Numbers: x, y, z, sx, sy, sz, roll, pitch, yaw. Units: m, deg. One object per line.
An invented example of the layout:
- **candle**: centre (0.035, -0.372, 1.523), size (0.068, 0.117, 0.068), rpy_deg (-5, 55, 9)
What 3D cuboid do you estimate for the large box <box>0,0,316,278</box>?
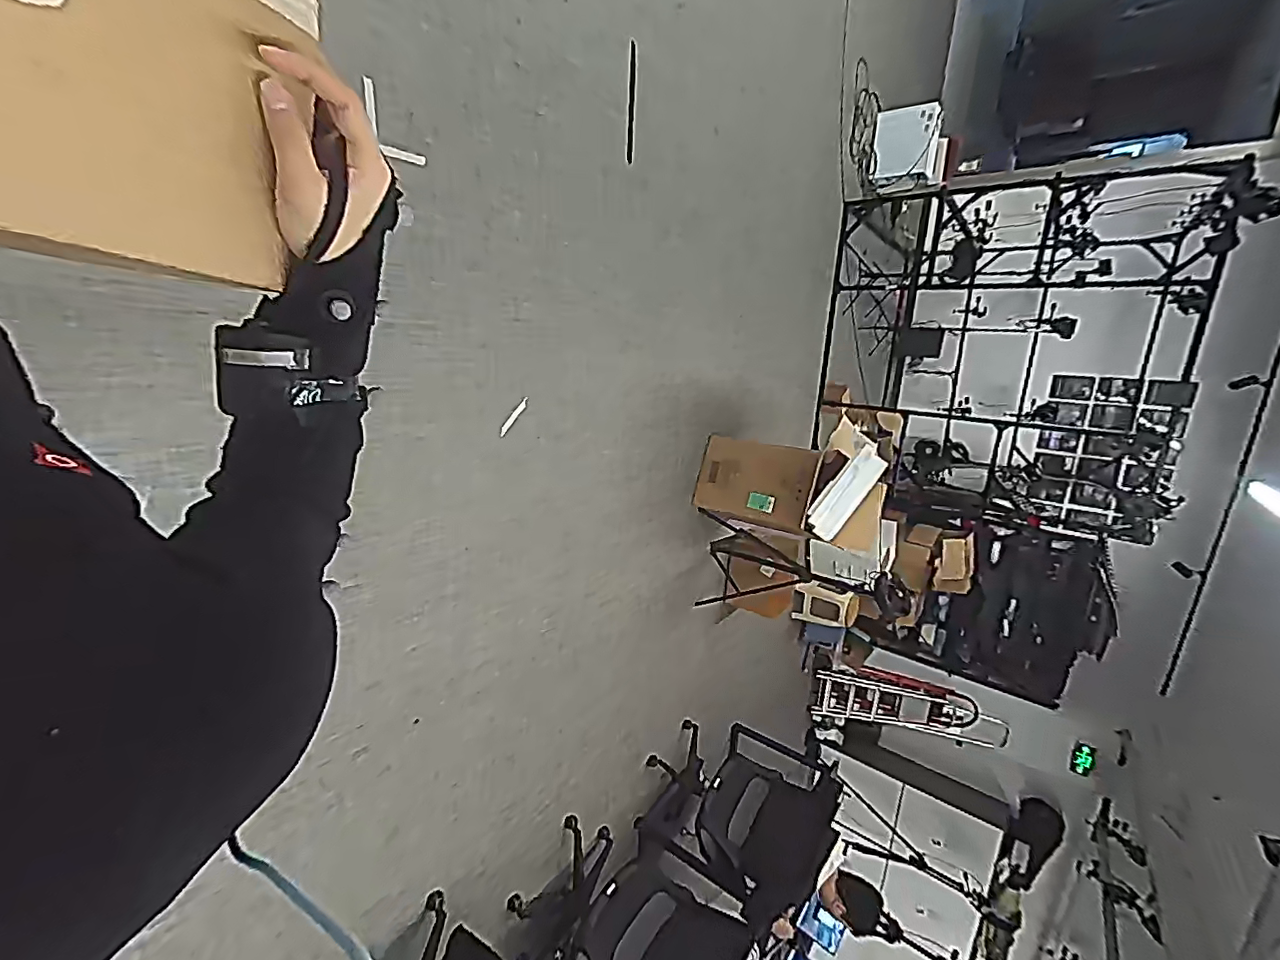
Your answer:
- **large box**: centre (-0.422, -0.297, 0.219), size (0.408, 0.320, 0.320), rpy_deg (-8, 112, -62)
